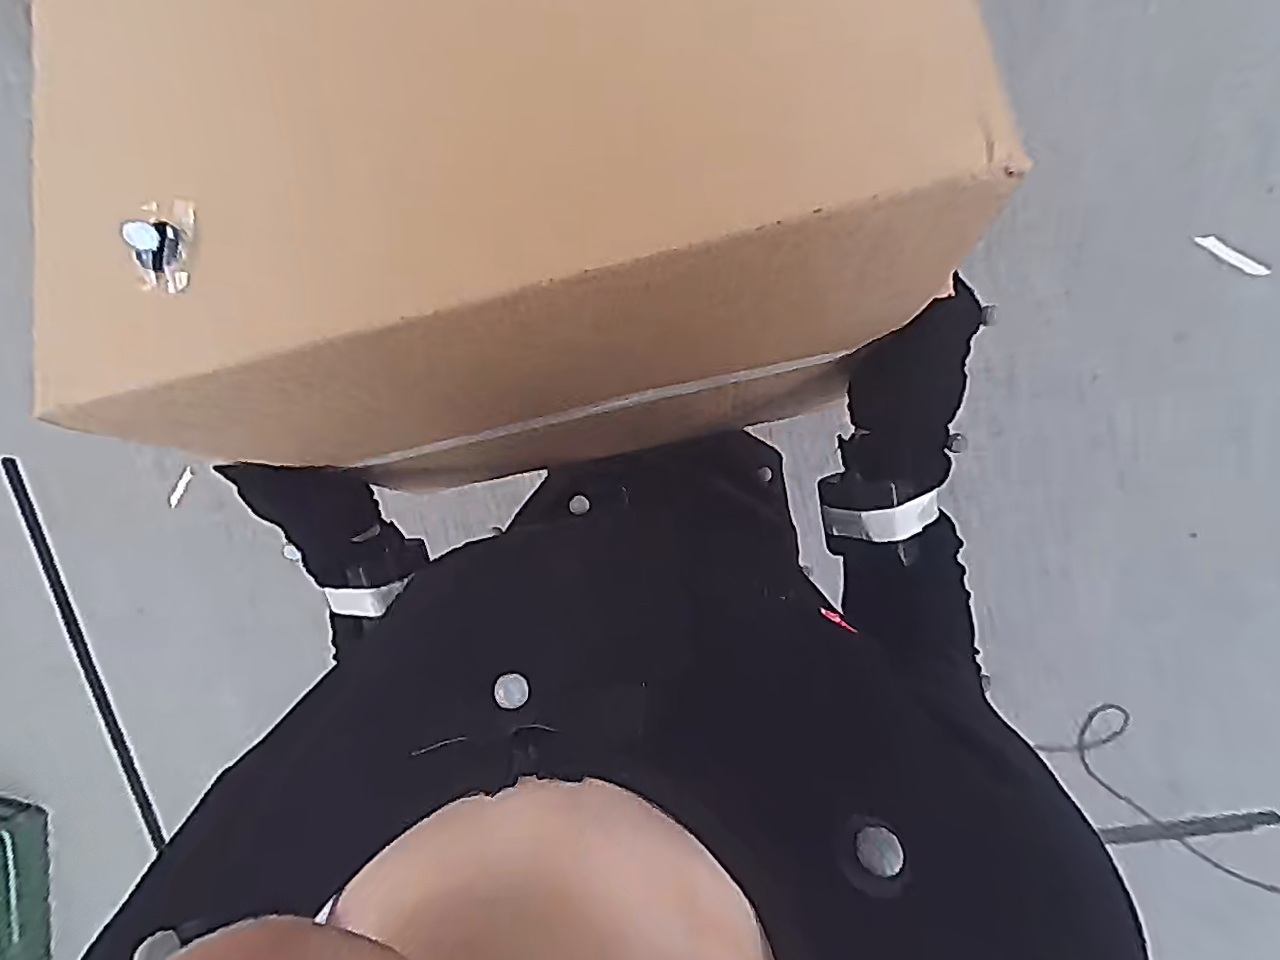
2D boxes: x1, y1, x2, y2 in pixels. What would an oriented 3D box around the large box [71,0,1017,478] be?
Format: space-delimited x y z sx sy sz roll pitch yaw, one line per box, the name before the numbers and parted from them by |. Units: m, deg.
large box | -0.064 -0.207 0.382 0.408 0.320 0.320 -11 82 7
